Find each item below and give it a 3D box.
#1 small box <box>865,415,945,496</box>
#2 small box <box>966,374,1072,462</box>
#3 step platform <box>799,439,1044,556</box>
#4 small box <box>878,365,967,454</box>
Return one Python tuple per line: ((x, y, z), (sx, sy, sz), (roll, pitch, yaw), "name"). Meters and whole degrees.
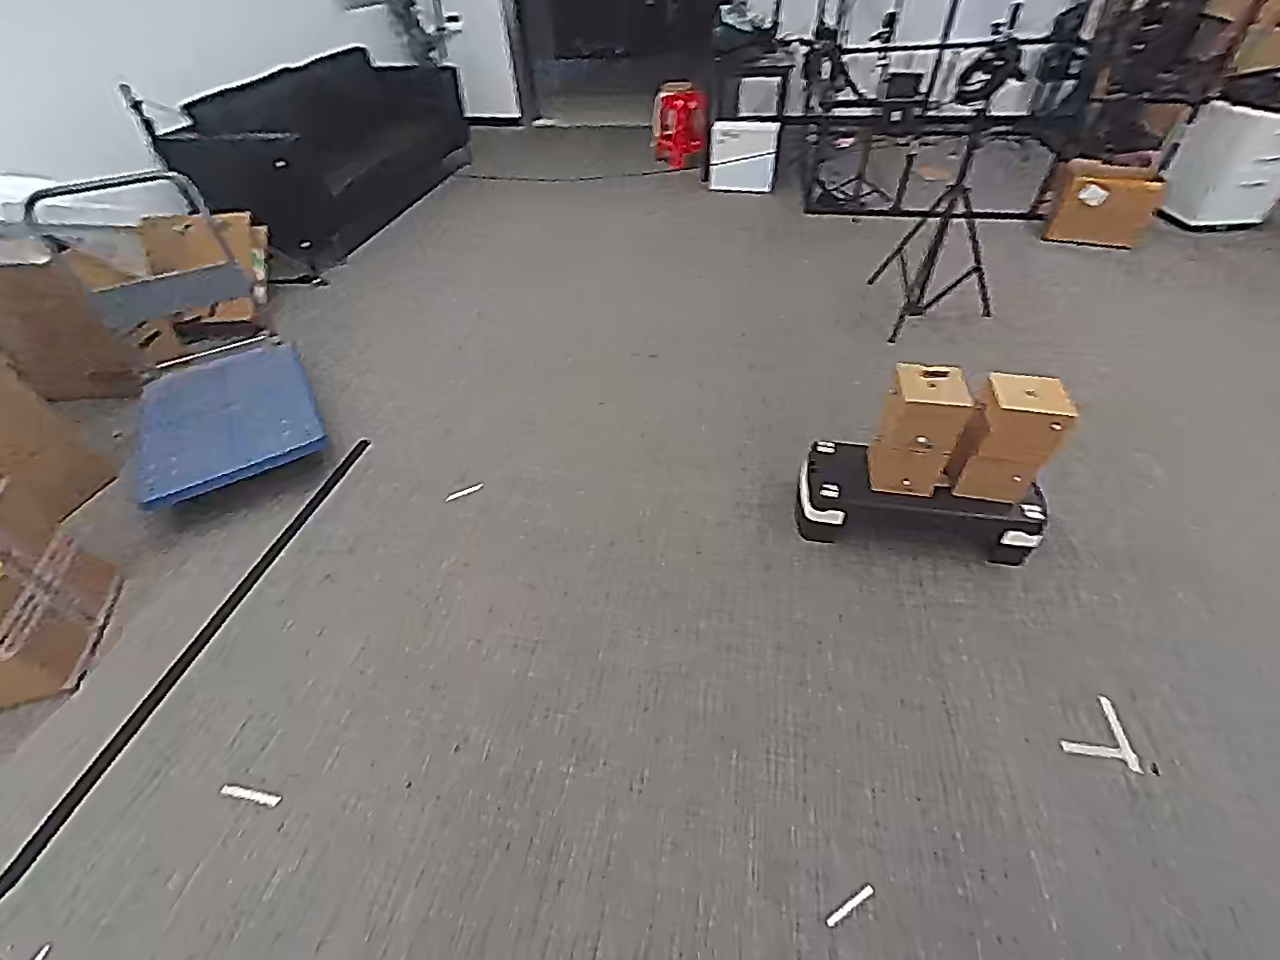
((0.783, -0.077, 1.615), (0.168, 0.176, 0.179), (7, 46, 10), "small box")
((1.007, -0.166, 1.460), (0.179, 0.176, 0.168), (8, 46, 11), "small box")
((0.875, 0.042, 1.736), (0.684, 0.204, 0.286), (5, 45, 9), "step platform")
((0.774, -0.196, 1.502), (0.168, 0.176, 0.179), (6, 46, 10), "small box")
